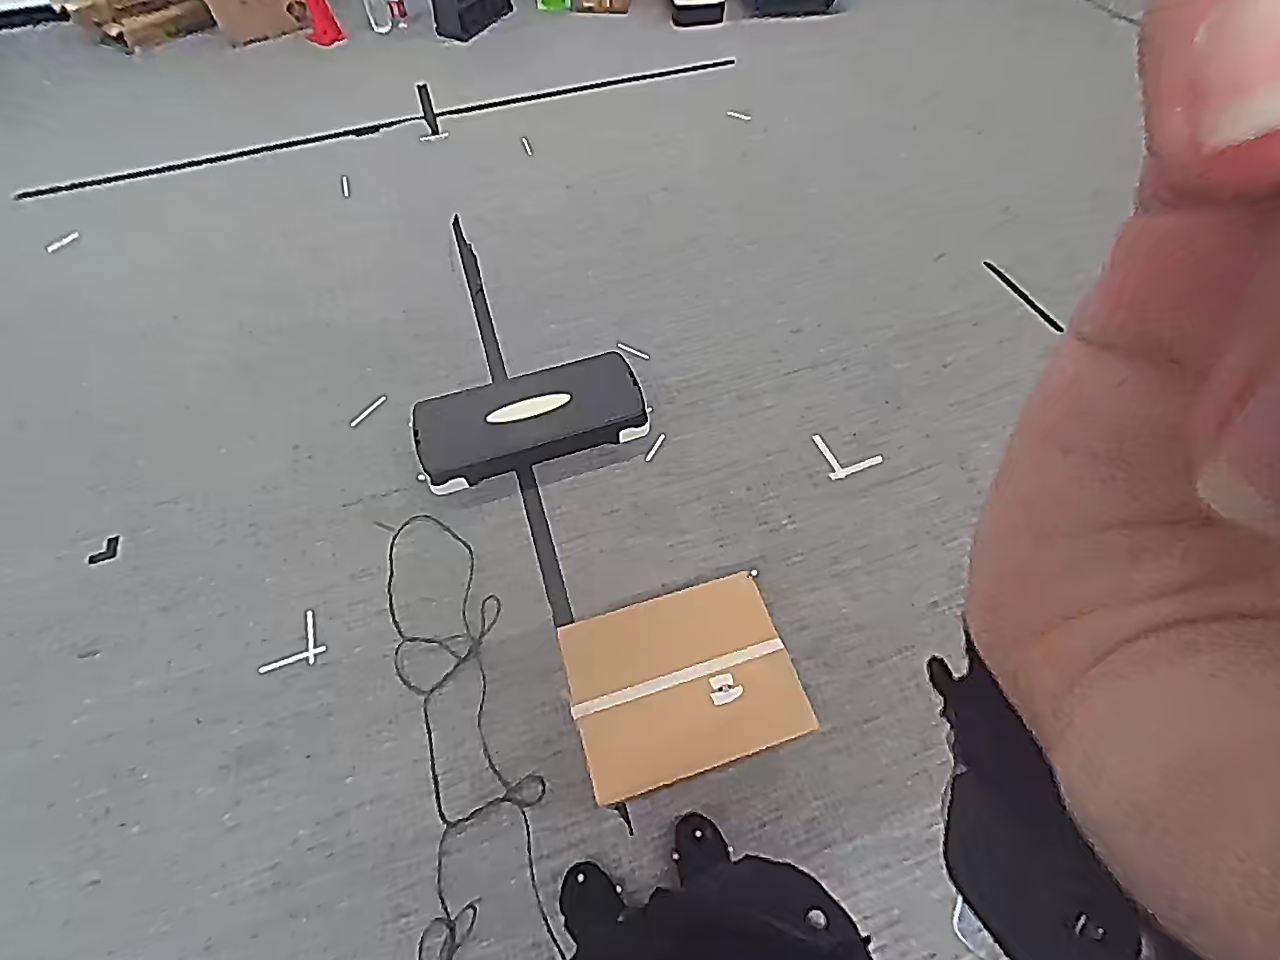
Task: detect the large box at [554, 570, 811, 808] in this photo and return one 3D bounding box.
[{"bbox_3d":[0.067,0.435,1.112,0.408,0.320,0.320,-15,60,-9],"label":"large box"}]
